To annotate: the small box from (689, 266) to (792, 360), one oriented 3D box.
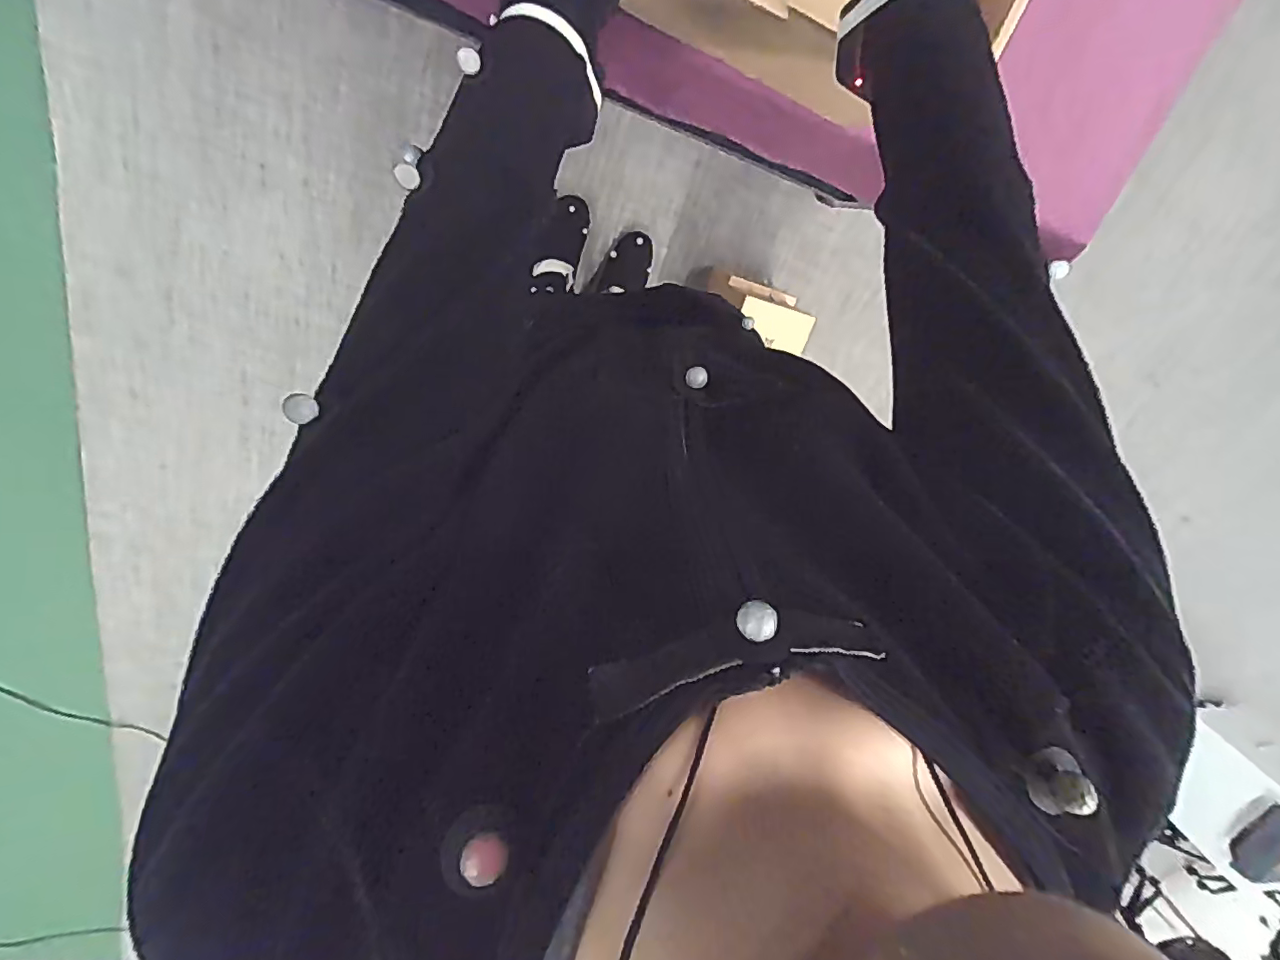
[{"bbox_3d":[0.243,-0.420,1.348,0.179,0.176,0.168,13,116,-15],"label":"small box"}]
